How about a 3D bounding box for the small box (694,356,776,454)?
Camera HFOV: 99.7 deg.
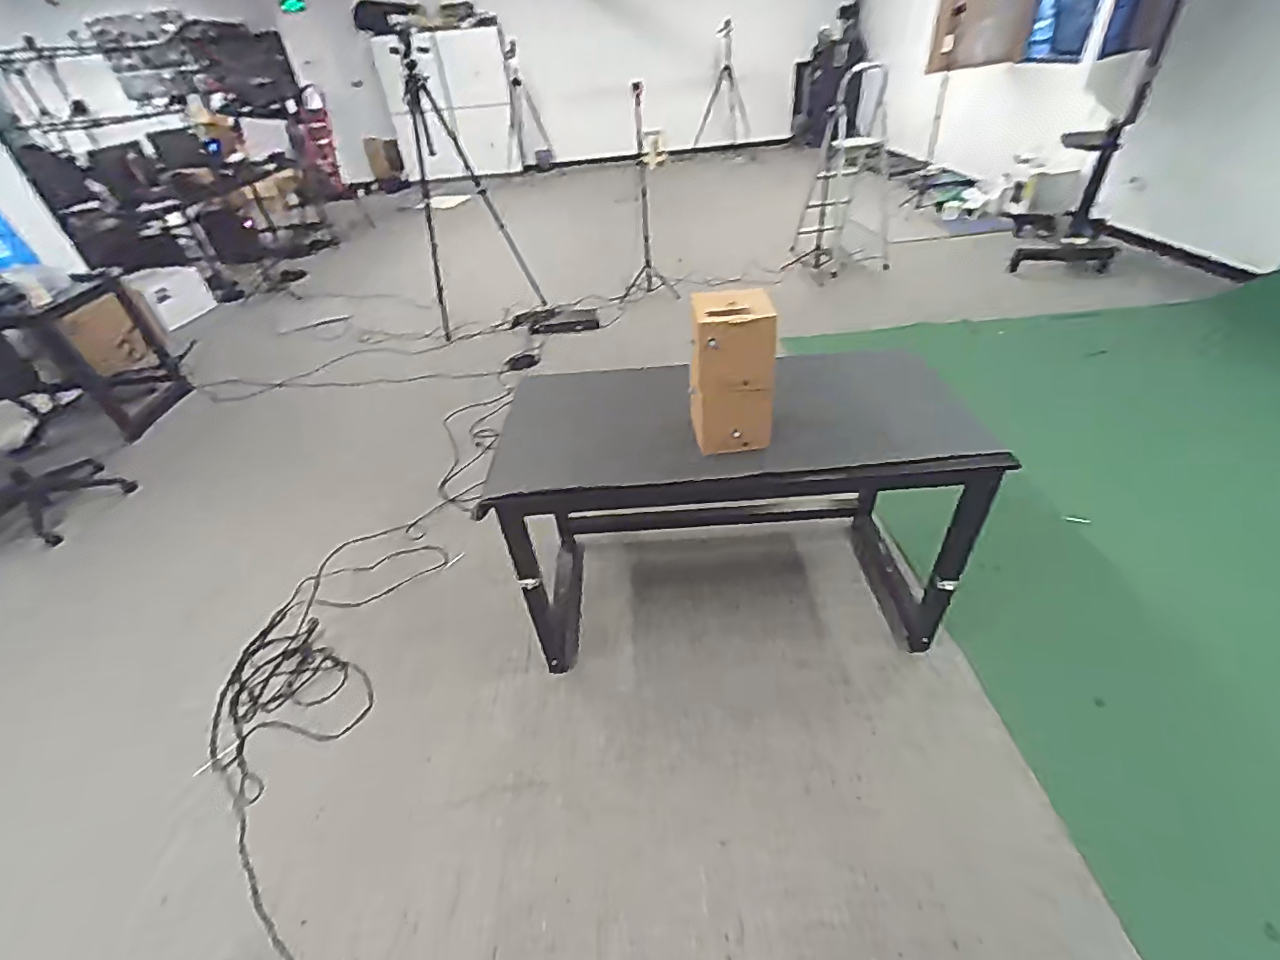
[{"bbox_3d":[0.223,-0.183,1.317,0.168,0.176,0.179,-7,37,-1],"label":"small box"}]
